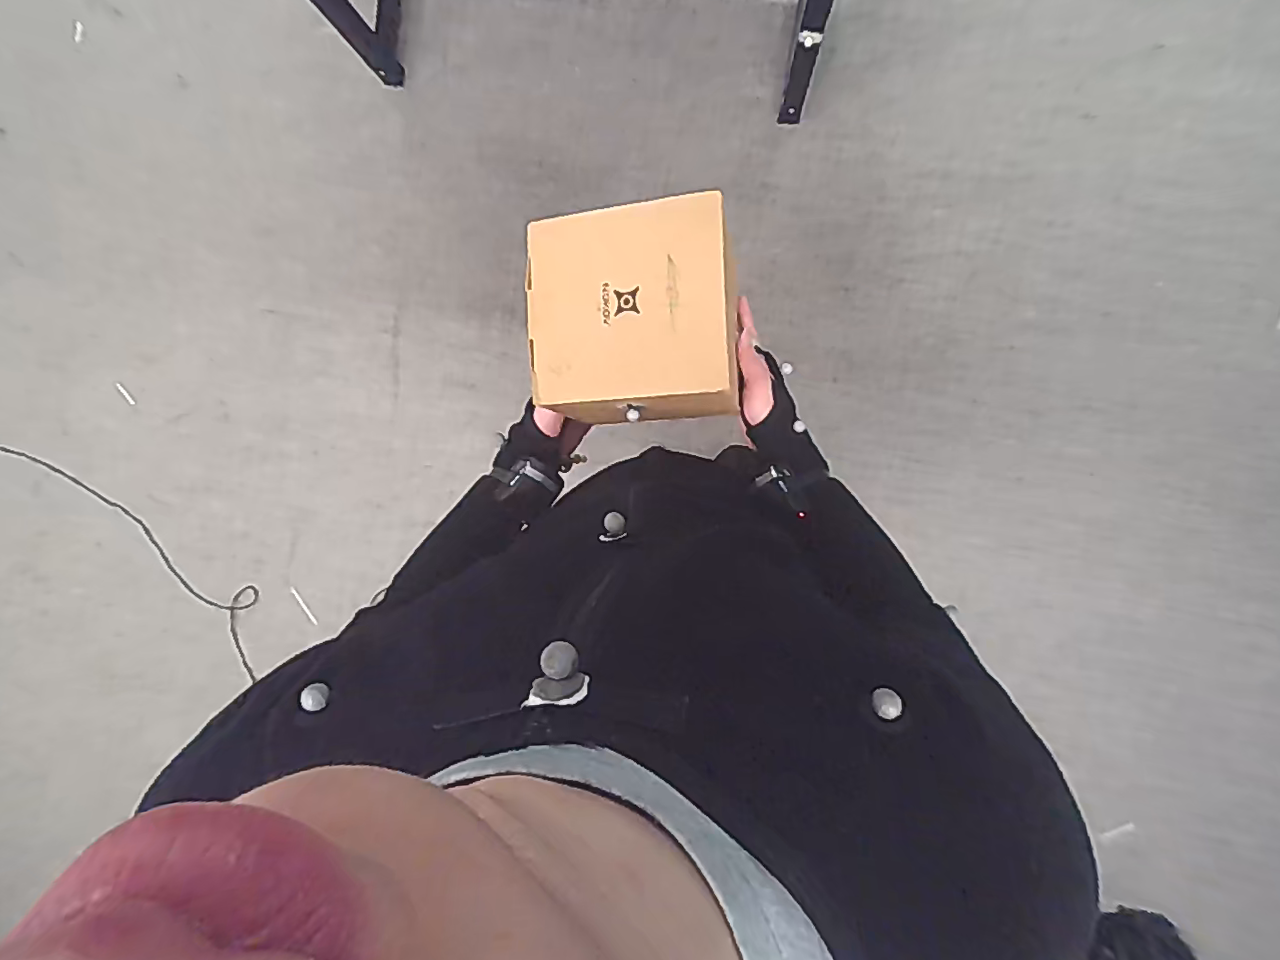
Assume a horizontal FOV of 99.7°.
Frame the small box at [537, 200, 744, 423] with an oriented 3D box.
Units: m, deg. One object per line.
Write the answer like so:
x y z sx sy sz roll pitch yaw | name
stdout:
0.011 -0.151 0.551 0.179 0.176 0.168 -3 90 13 | small box
